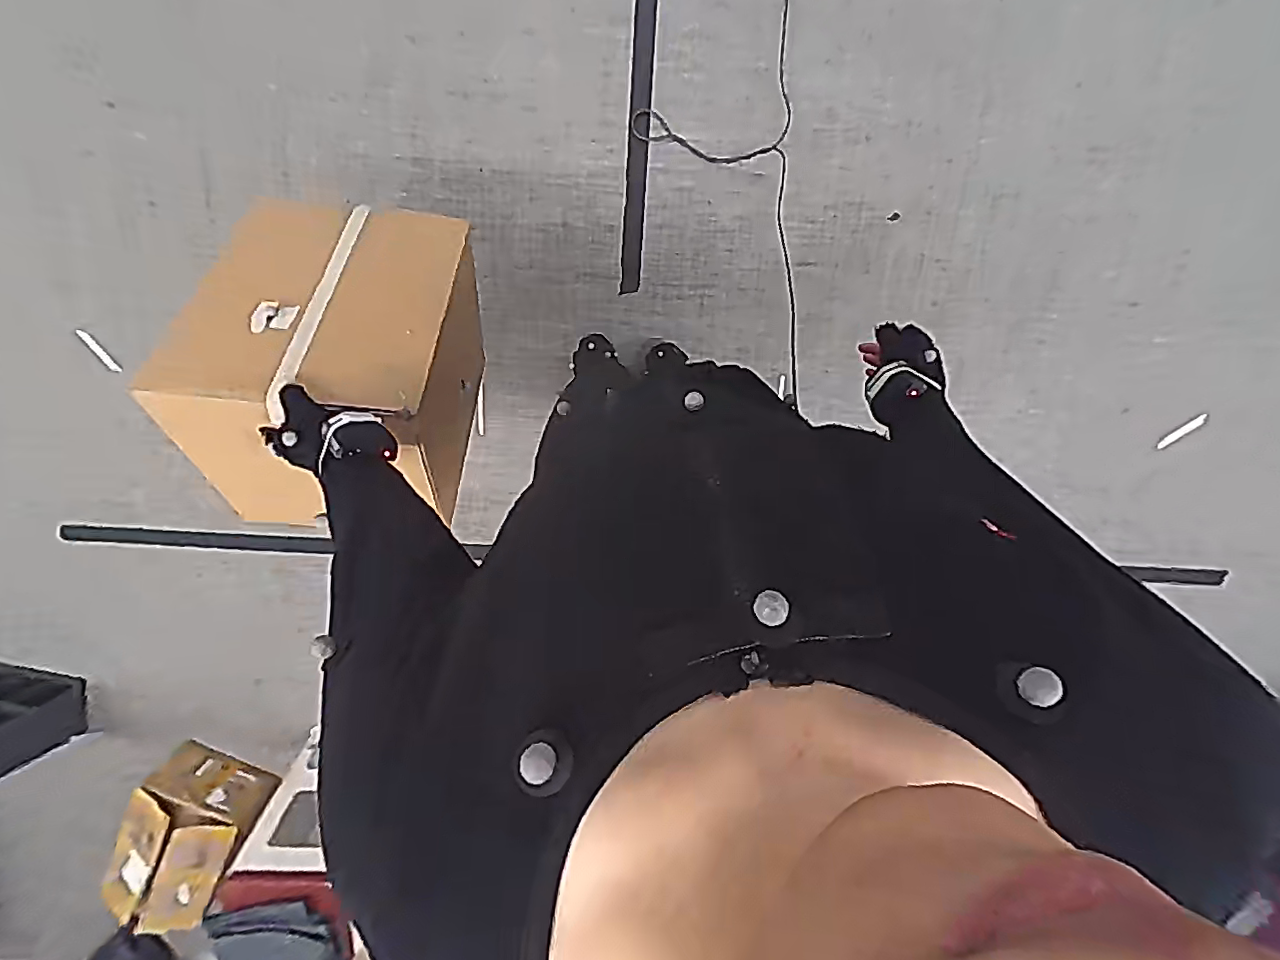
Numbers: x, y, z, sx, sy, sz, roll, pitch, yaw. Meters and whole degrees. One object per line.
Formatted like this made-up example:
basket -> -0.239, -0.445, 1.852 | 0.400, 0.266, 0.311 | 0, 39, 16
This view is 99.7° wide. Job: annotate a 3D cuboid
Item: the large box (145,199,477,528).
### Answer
large box -> -0.457, -0.177, 0.878 | 0.320, 0.408, 0.320 | 5, 147, -7
